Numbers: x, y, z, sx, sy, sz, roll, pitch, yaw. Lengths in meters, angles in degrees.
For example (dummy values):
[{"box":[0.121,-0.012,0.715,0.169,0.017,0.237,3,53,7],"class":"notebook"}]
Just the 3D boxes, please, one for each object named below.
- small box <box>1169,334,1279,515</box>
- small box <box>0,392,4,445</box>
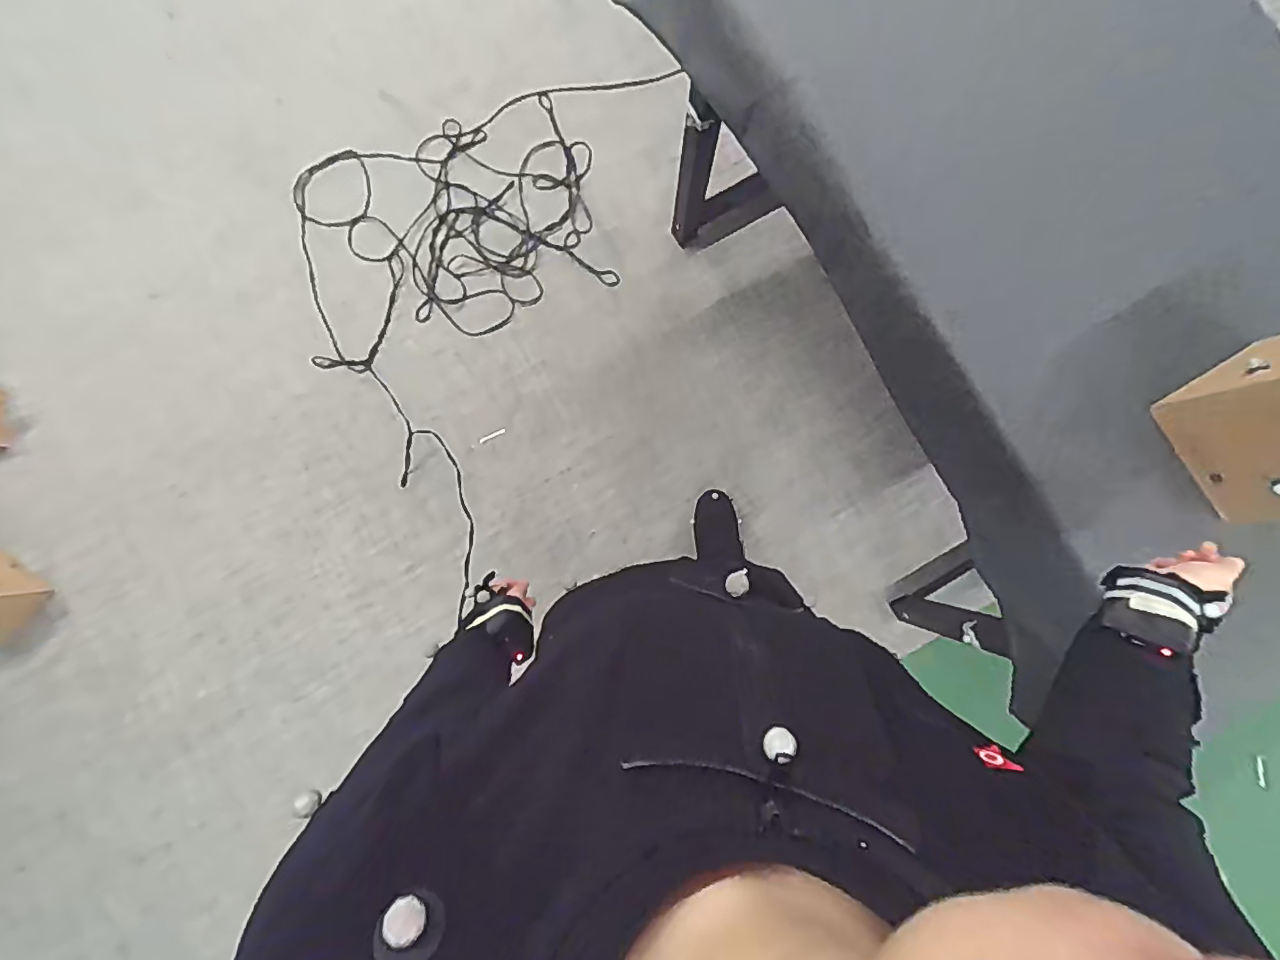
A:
[{"box":[0.742,-0.070,0.585,0.179,0.176,0.168,-31,87,-4],"class":"small box"},{"box":[-1.692,-0.149,1.282,0.179,0.176,0.168,-9,85,-2],"class":"small box"}]
